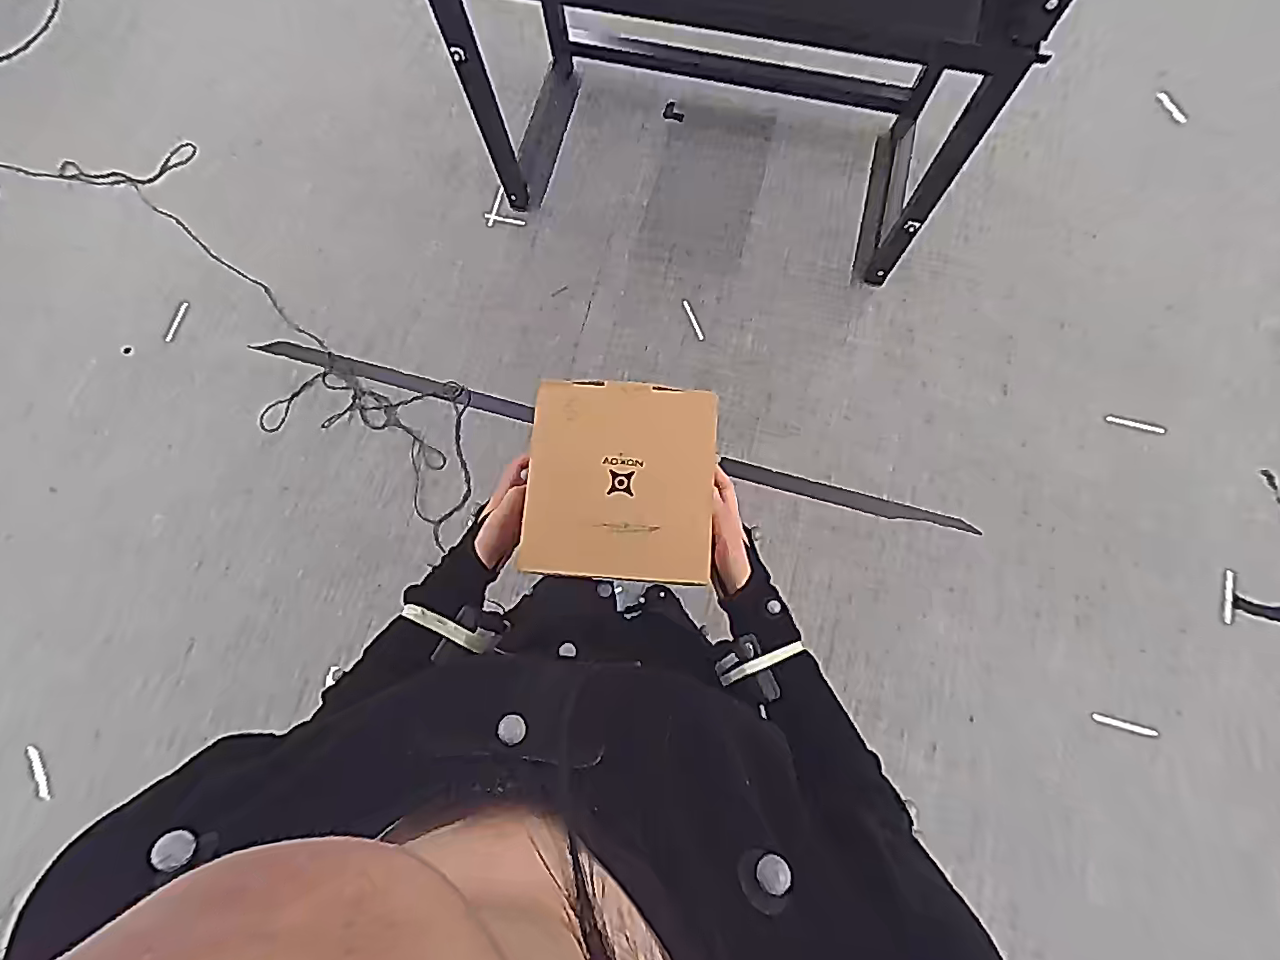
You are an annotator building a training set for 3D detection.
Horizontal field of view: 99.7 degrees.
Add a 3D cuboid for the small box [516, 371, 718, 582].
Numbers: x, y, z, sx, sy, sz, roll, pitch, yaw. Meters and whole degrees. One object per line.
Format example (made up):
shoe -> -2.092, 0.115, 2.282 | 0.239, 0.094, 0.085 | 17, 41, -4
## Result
small box -> -0.019, 0.008, 0.550 | 0.168, 0.176, 0.179 | 4, 79, 0
